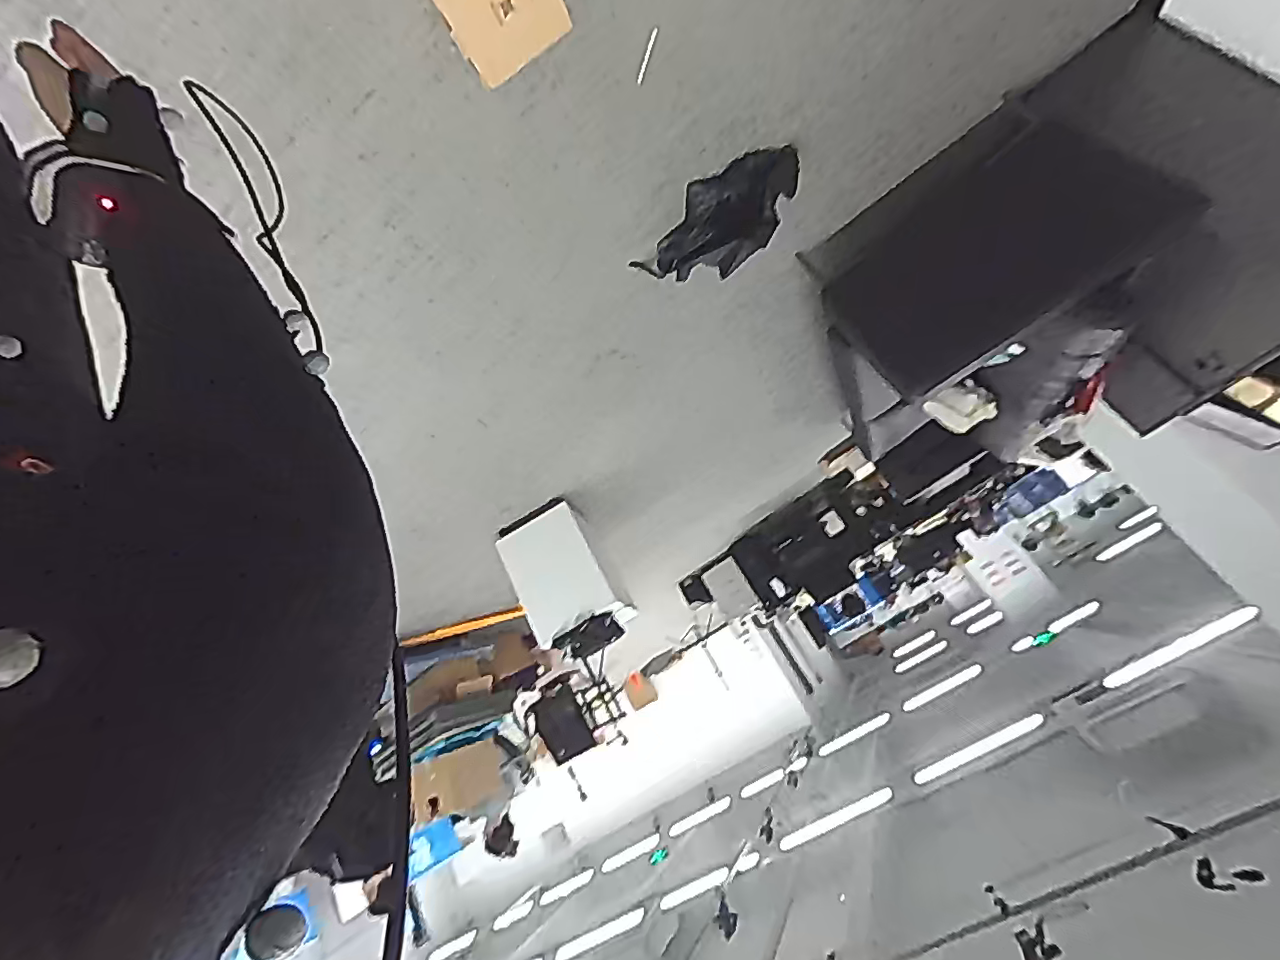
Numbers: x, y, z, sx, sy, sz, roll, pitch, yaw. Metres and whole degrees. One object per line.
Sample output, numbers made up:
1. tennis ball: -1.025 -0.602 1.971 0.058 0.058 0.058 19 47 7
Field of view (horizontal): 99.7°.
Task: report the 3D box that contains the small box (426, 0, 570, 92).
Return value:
1. small box: -0.245 -0.772 0.843 0.179 0.176 0.168 -34 159 6
